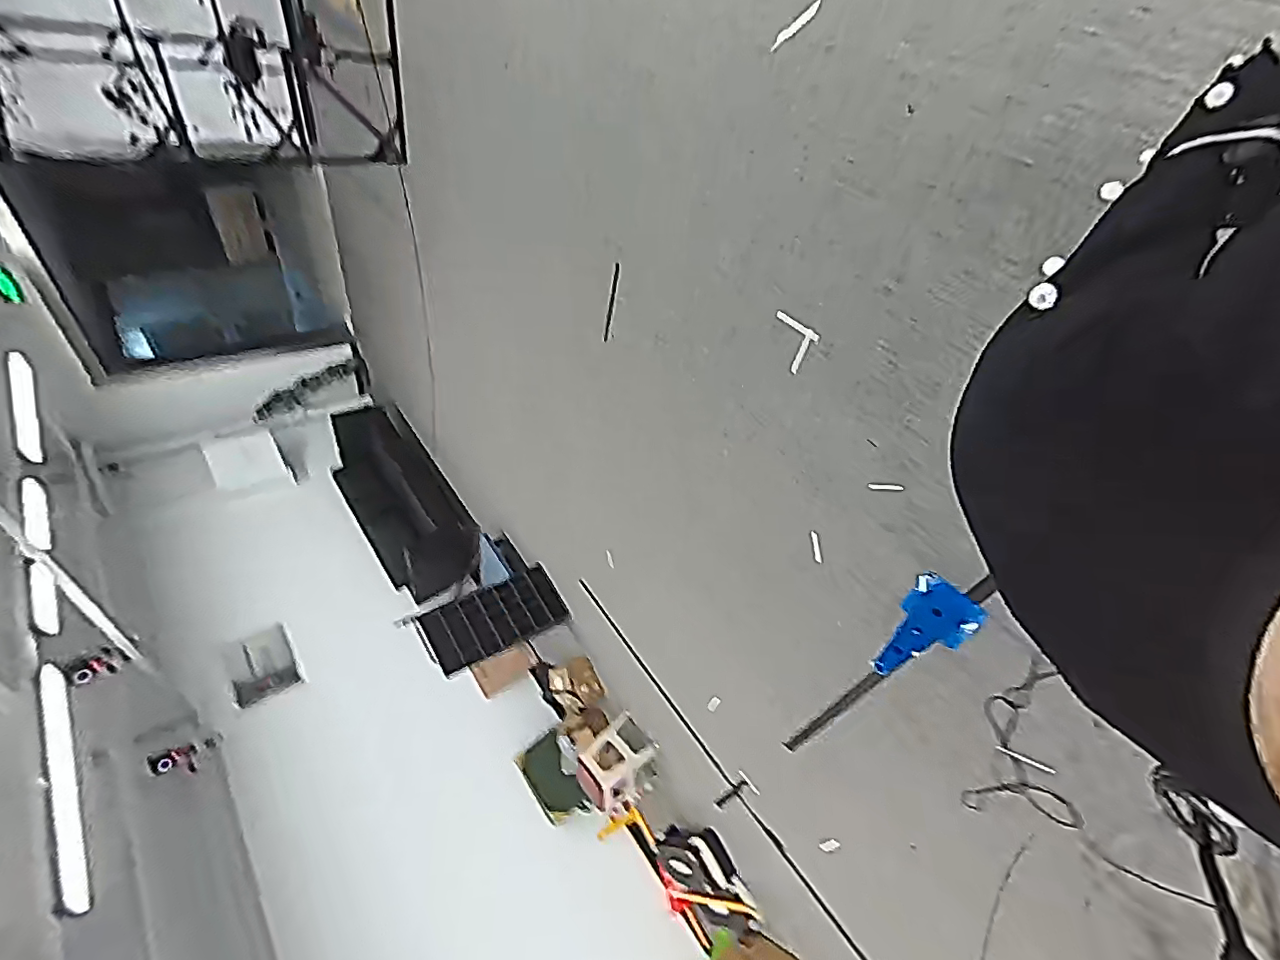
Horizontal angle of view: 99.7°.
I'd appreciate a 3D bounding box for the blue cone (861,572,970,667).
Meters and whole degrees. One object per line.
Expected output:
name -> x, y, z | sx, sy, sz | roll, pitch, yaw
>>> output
blue cone -> 0.777, 0.450, 1.588 | 0.192, 0.380, 0.193 | 46, 141, 31
